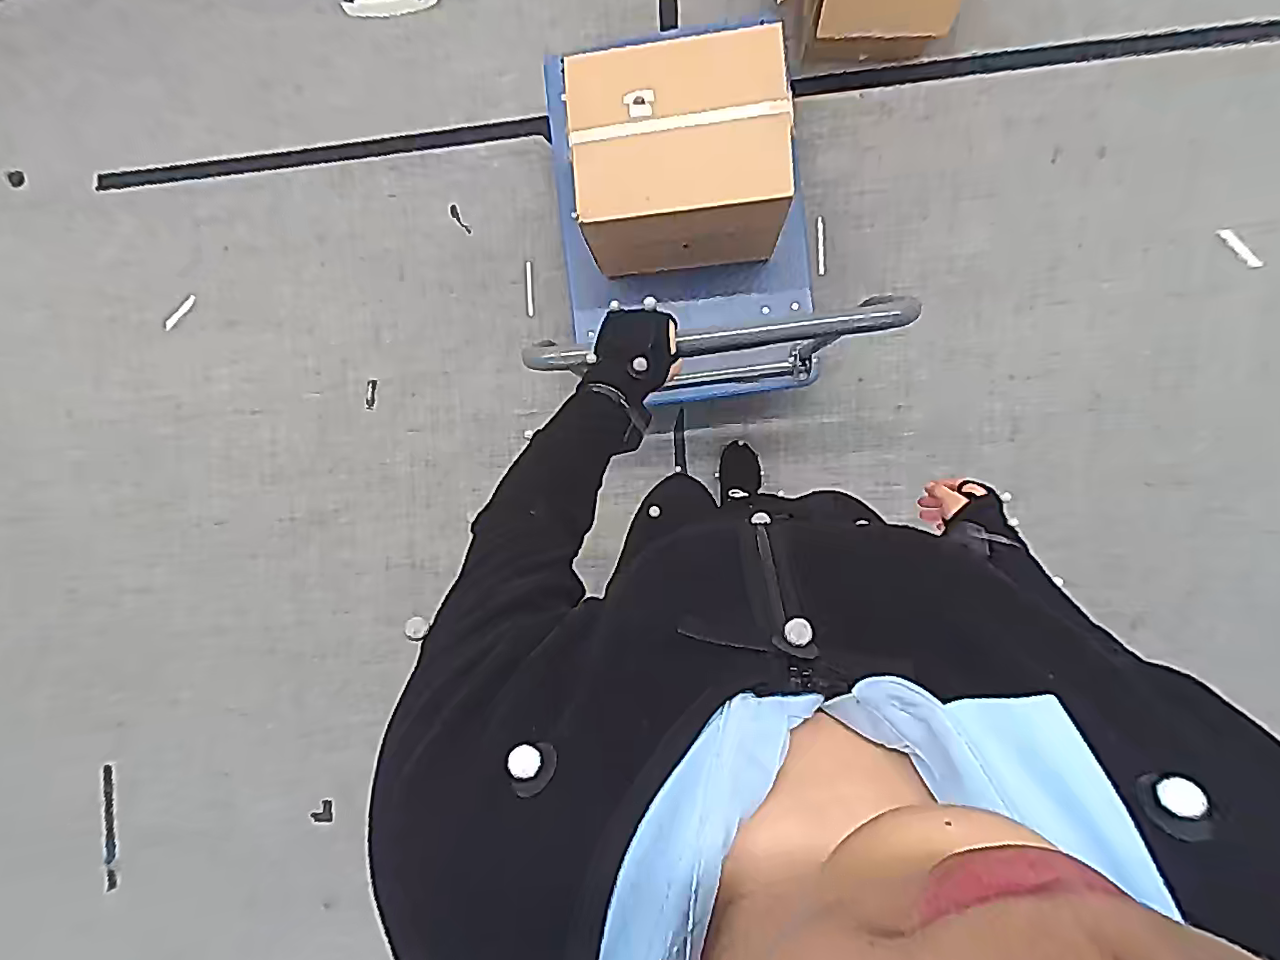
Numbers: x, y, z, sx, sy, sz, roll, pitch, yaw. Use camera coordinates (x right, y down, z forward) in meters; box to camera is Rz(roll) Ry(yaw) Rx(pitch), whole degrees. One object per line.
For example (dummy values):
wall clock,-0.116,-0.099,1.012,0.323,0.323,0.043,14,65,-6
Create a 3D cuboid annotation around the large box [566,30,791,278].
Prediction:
large box,0.087,-0.658,1.160,0.408,0.320,0.320,-5,90,7
